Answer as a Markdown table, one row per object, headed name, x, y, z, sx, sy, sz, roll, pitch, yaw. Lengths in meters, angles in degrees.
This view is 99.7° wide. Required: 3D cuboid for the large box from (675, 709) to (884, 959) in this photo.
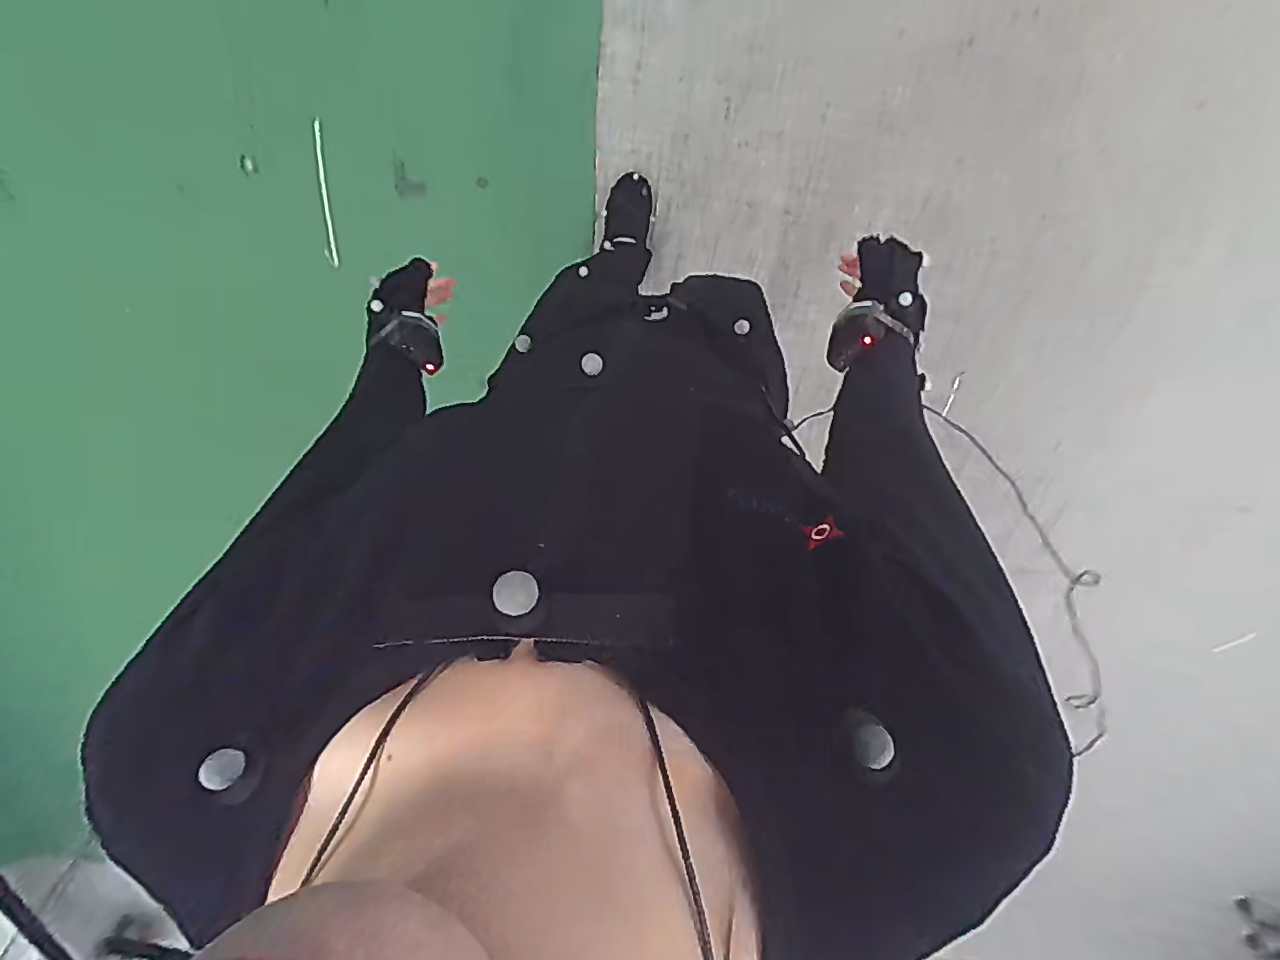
| name | x | y | z | sx | sy | sz | roll | pitch | yaw |
| --- | --- | --- | --- | --- | --- | --- | --- | --- | --- |
| large box | 0.260 | 0.764 | 1.165 | 0.320 | 0.320 | 0.408 | 10 | 119 | -1 |
